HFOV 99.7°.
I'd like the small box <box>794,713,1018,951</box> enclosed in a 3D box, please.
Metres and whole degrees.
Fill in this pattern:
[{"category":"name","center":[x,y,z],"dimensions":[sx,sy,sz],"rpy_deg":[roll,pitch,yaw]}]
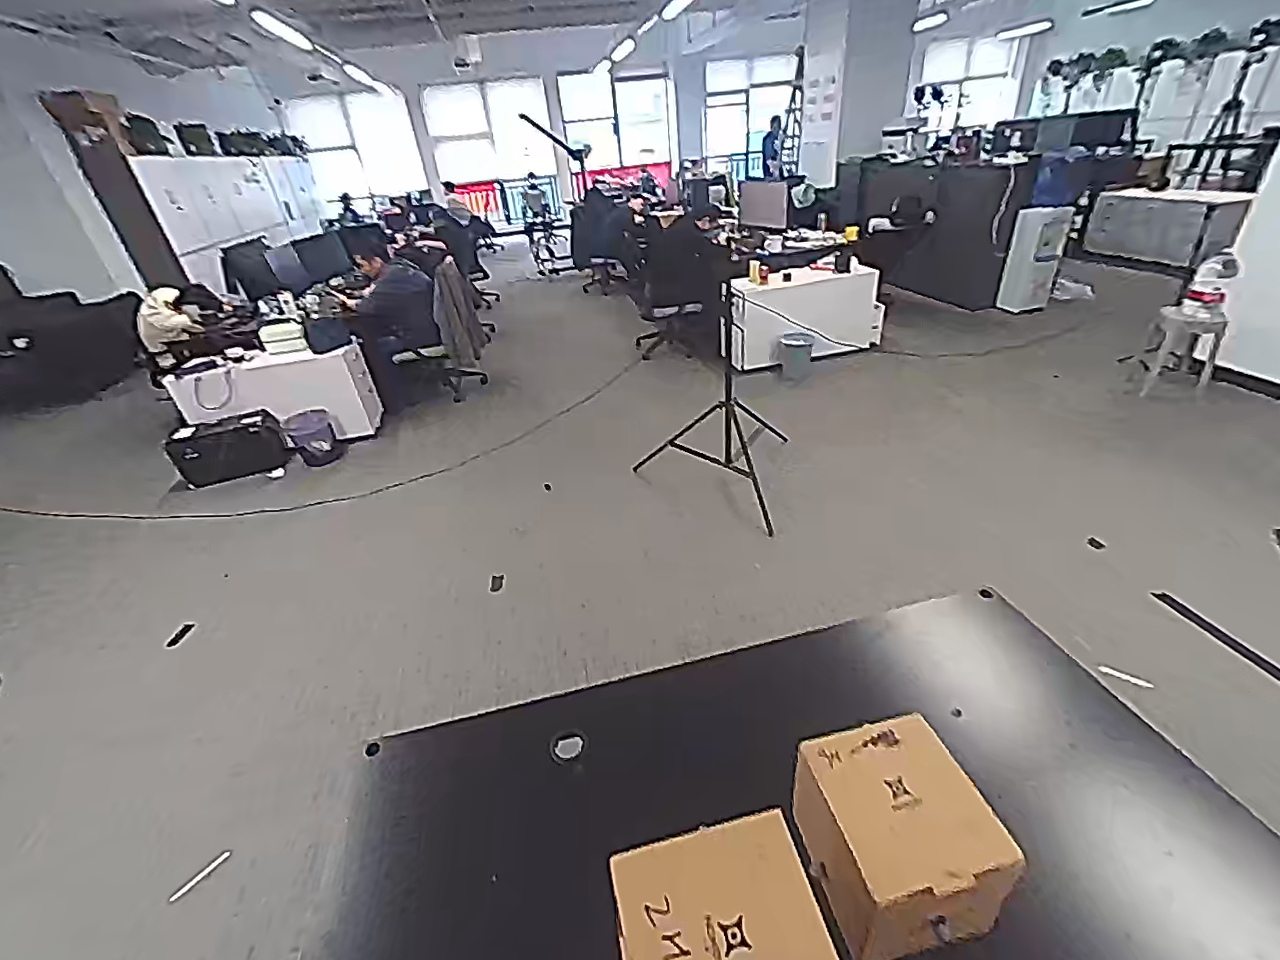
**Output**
[{"category":"small box","center":[0.298,0.422,0.649],"dimensions":[0.168,0.176,0.179],"rpy_deg":[-11,32,-6]}]

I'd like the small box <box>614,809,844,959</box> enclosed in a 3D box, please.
[{"category":"small box","center":[0.080,0.447,0.508],"dimensions":[0.179,0.176,0.168],"rpy_deg":[-11,39,-7]}]
